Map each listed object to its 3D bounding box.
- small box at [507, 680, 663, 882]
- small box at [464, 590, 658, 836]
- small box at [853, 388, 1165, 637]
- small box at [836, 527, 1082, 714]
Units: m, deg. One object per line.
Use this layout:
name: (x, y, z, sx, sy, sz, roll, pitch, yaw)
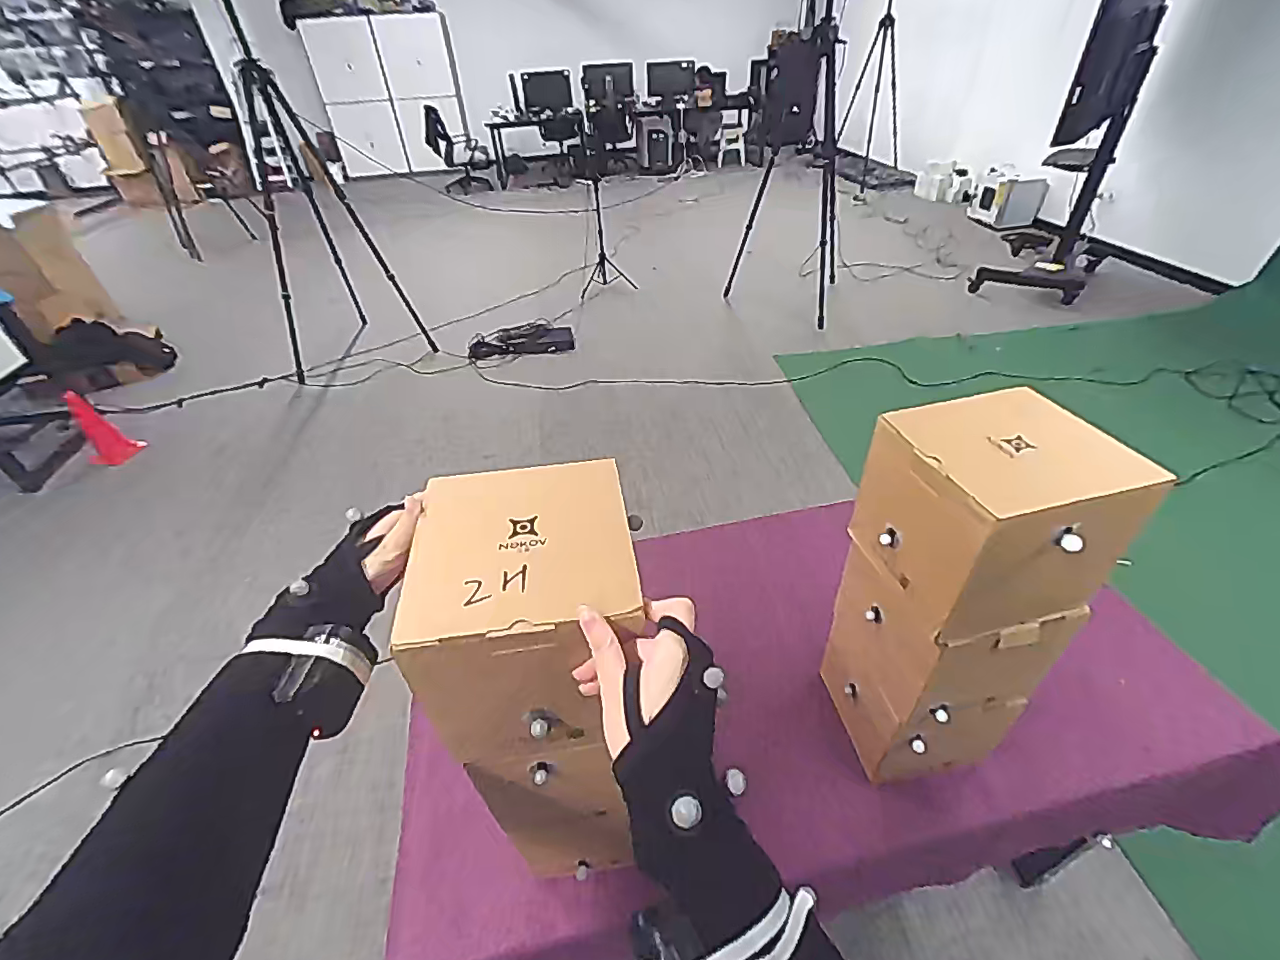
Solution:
small box: (-0.065, 0.376, 0.690, 0.168, 0.176, 0.179, -7, 40, -3)
small box: (-0.076, 0.248, 0.586, 0.168, 0.176, 0.179, -8, 39, -2)
small box: (0.345, 0.031, 0.551, 0.179, 0.176, 0.168, -12, 39, -8)
small box: (0.360, 0.158, 0.652, 0.168, 0.176, 0.179, -11, 38, -7)
